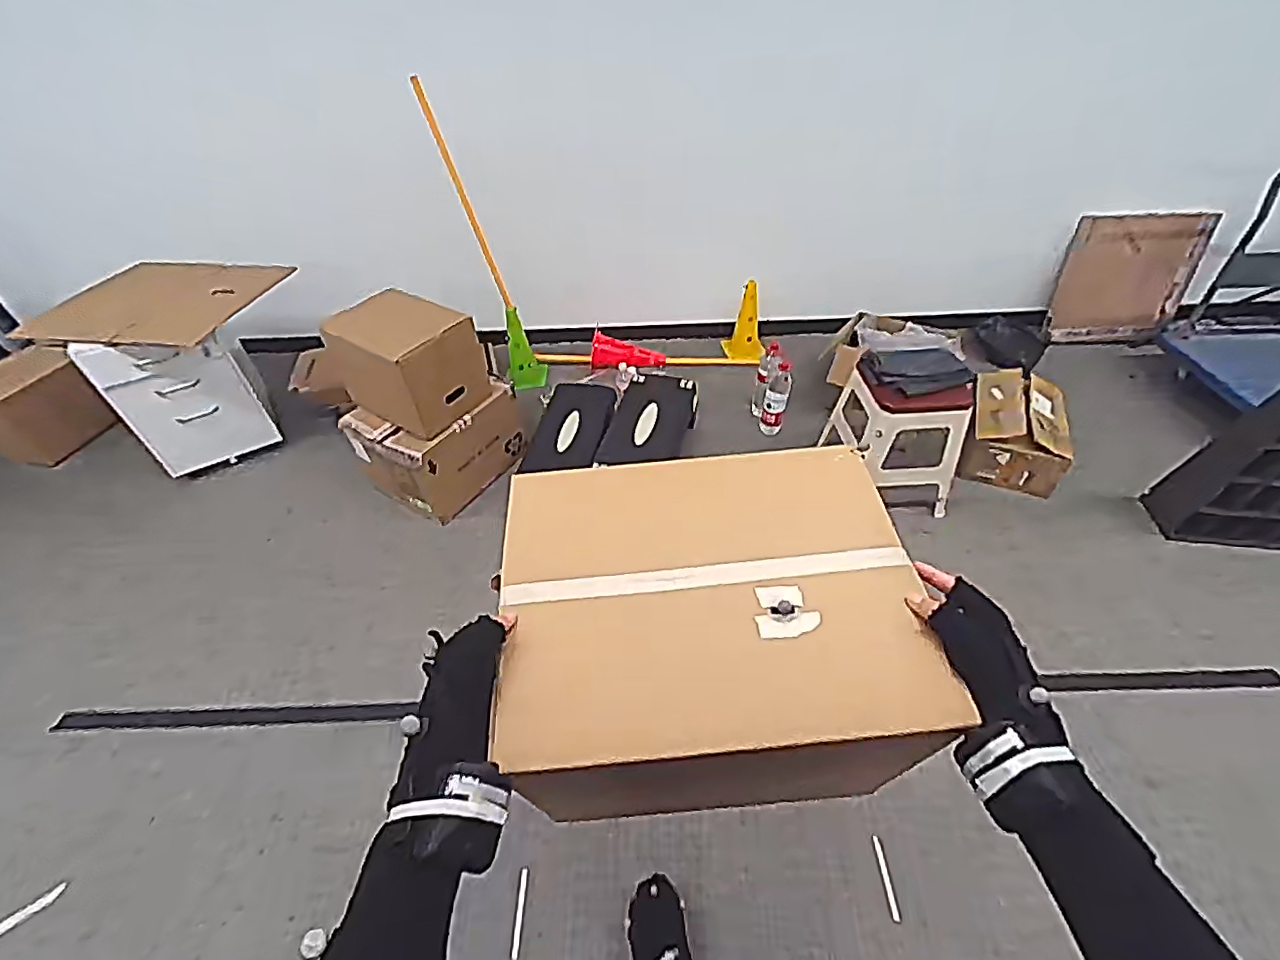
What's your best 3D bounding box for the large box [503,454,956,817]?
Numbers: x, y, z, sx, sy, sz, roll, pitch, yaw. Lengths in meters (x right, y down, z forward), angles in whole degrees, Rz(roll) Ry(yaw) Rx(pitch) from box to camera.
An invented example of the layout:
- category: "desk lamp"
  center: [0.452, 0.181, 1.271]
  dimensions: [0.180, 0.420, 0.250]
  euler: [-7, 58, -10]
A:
- category: "large box"
  center: [0.070, 0.198, 0.669]
  dimensions: [0.408, 0.320, 0.320]
  euler: [-5, 52, -1]
